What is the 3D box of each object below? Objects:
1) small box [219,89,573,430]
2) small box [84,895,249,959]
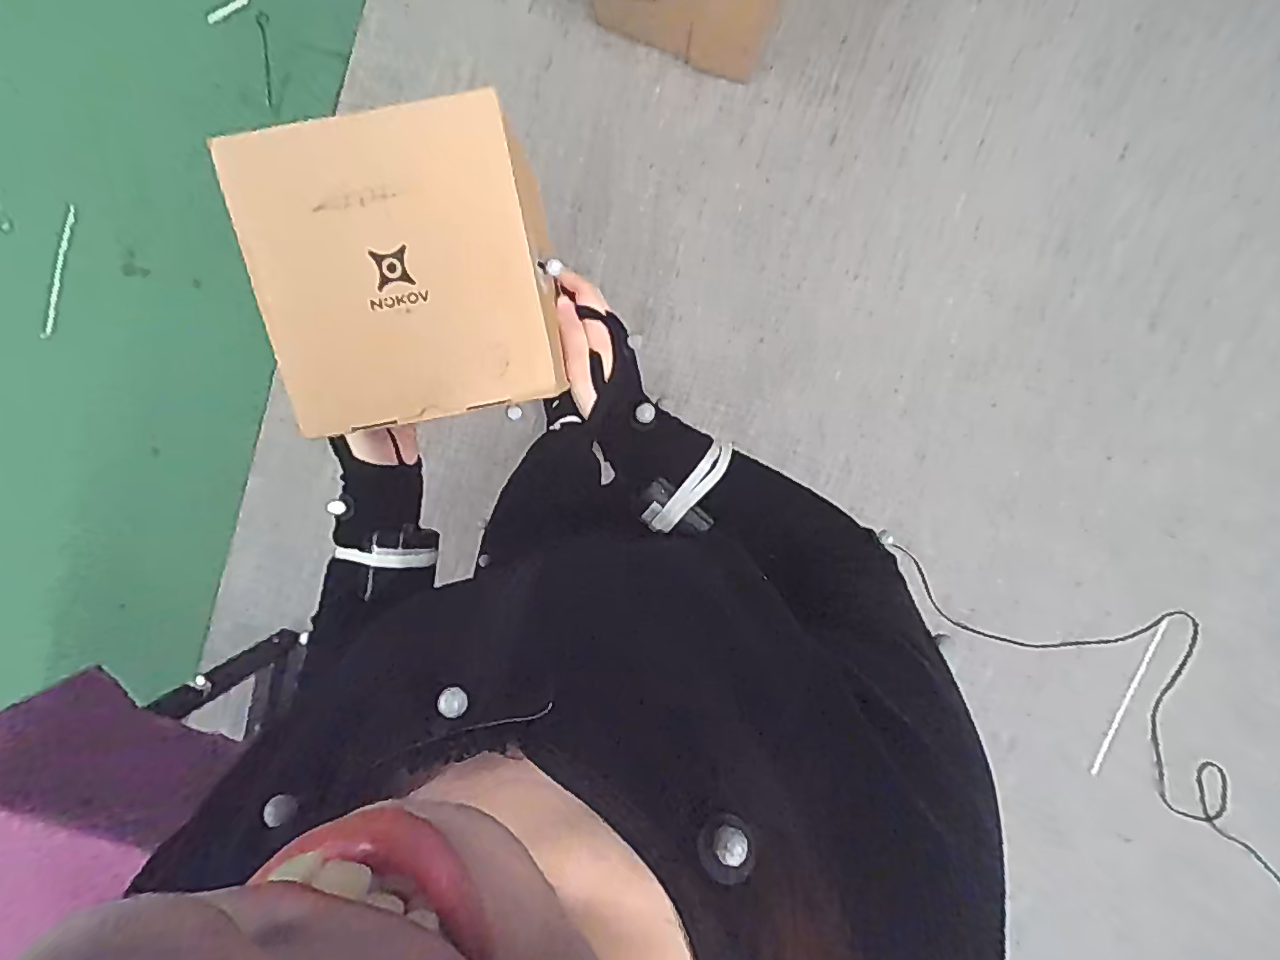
[{"bbox_3d":[-0.149,-0.143,0.403,0.168,0.176,0.179,-9,101,0],"label":"small box"},{"bbox_3d":[-0.720,0.759,0.784,0.179,0.176,0.168,18,96,1],"label":"small box"}]
